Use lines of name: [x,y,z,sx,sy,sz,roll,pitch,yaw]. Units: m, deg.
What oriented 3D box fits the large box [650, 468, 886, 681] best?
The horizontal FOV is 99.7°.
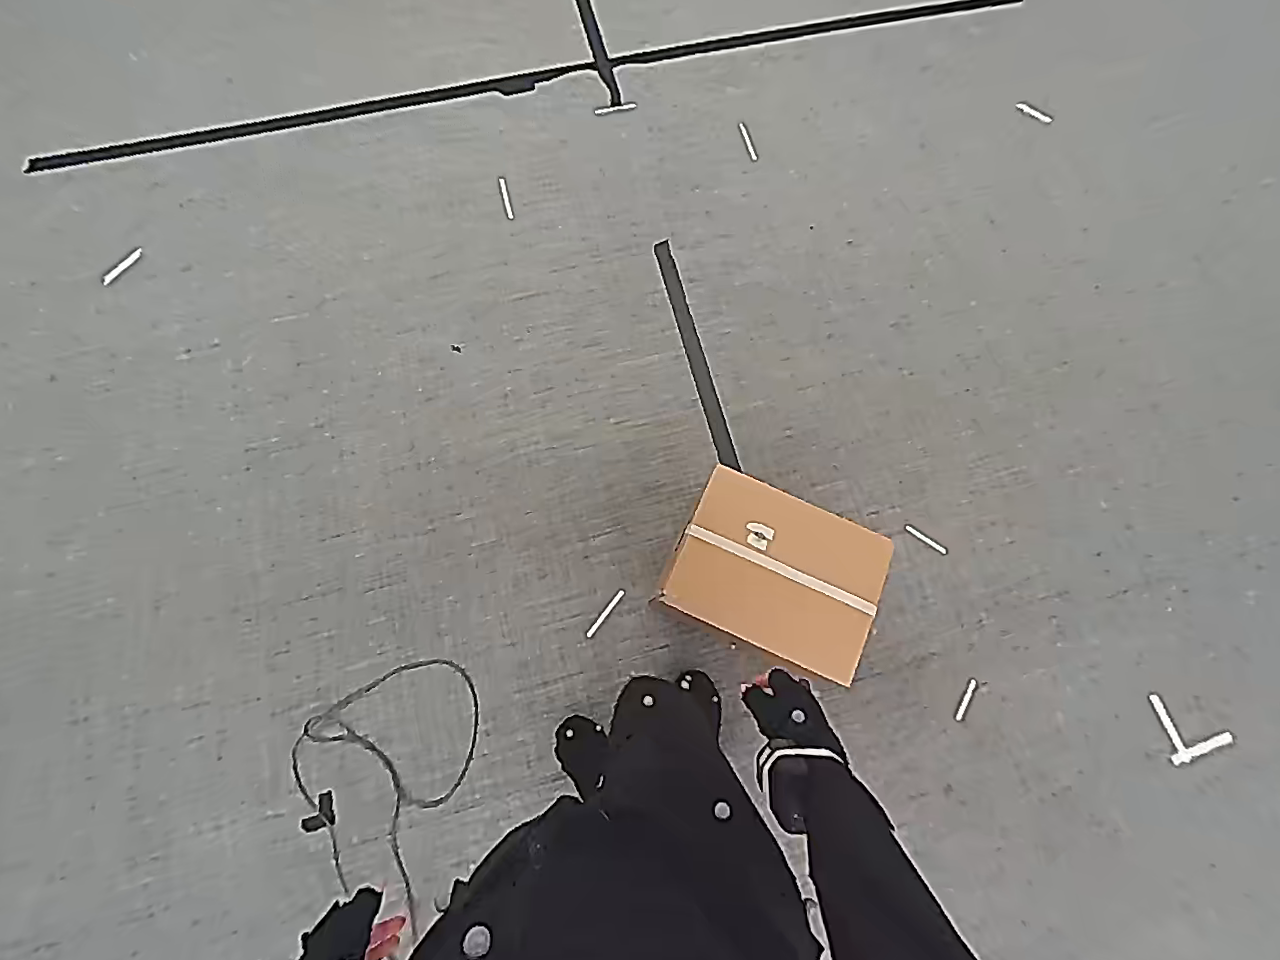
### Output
large box: [0.270,0.221,1.243,0.408,0.320,0.320,24,75,4]
